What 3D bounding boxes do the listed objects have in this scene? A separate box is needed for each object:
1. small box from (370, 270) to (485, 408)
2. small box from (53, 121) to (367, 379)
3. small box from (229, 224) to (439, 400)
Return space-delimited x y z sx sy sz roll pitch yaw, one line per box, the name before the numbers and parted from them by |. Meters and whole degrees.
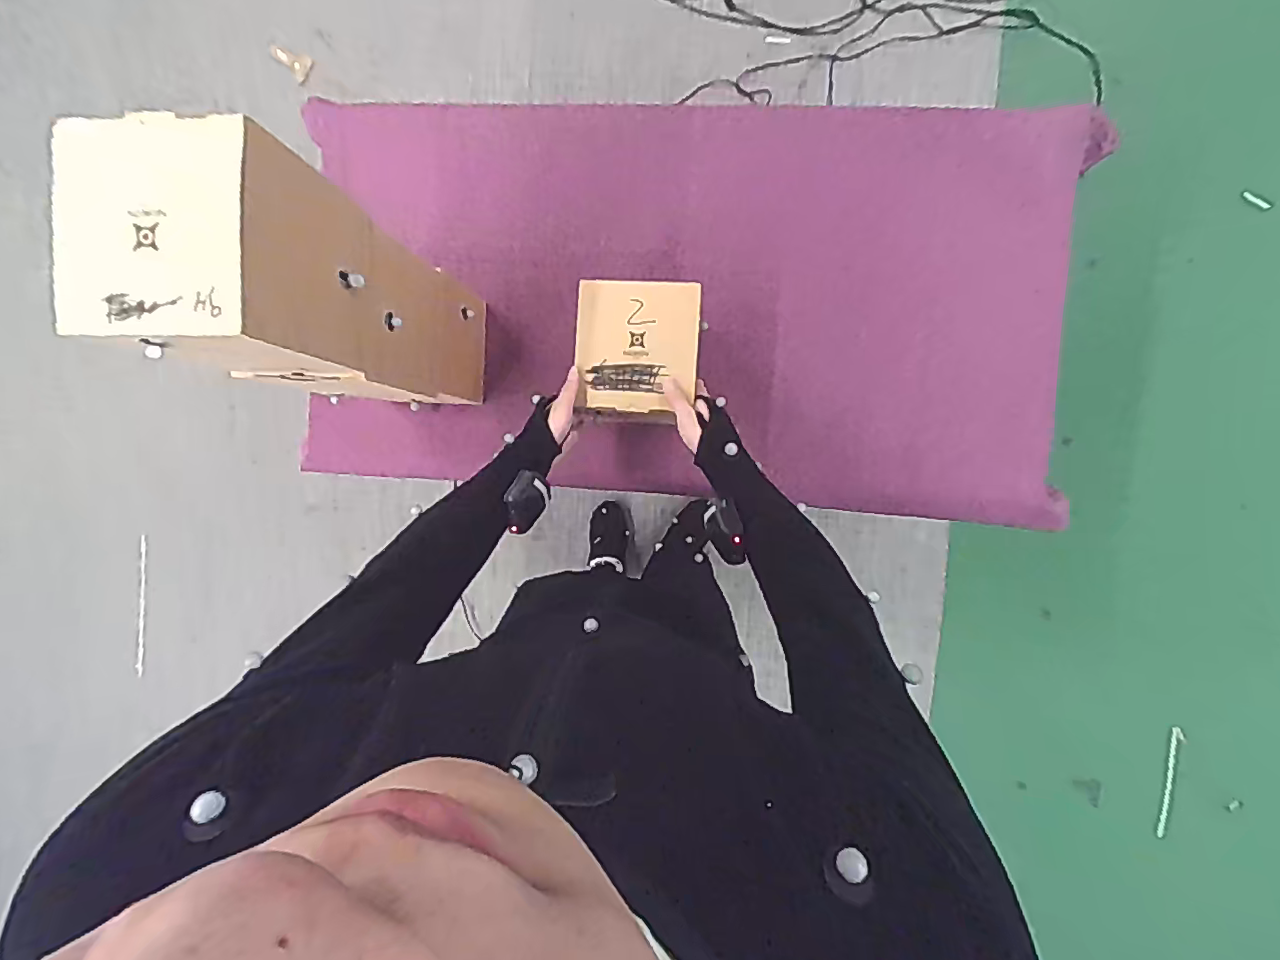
small box | -0.351 -0.210 0.837 0.168 0.176 0.179 3 93 6
small box | -0.383 -0.200 0.512 0.168 0.176 0.179 2 91 6
small box | -0.368 -0.196 0.675 0.168 0.176 0.179 2 91 6
